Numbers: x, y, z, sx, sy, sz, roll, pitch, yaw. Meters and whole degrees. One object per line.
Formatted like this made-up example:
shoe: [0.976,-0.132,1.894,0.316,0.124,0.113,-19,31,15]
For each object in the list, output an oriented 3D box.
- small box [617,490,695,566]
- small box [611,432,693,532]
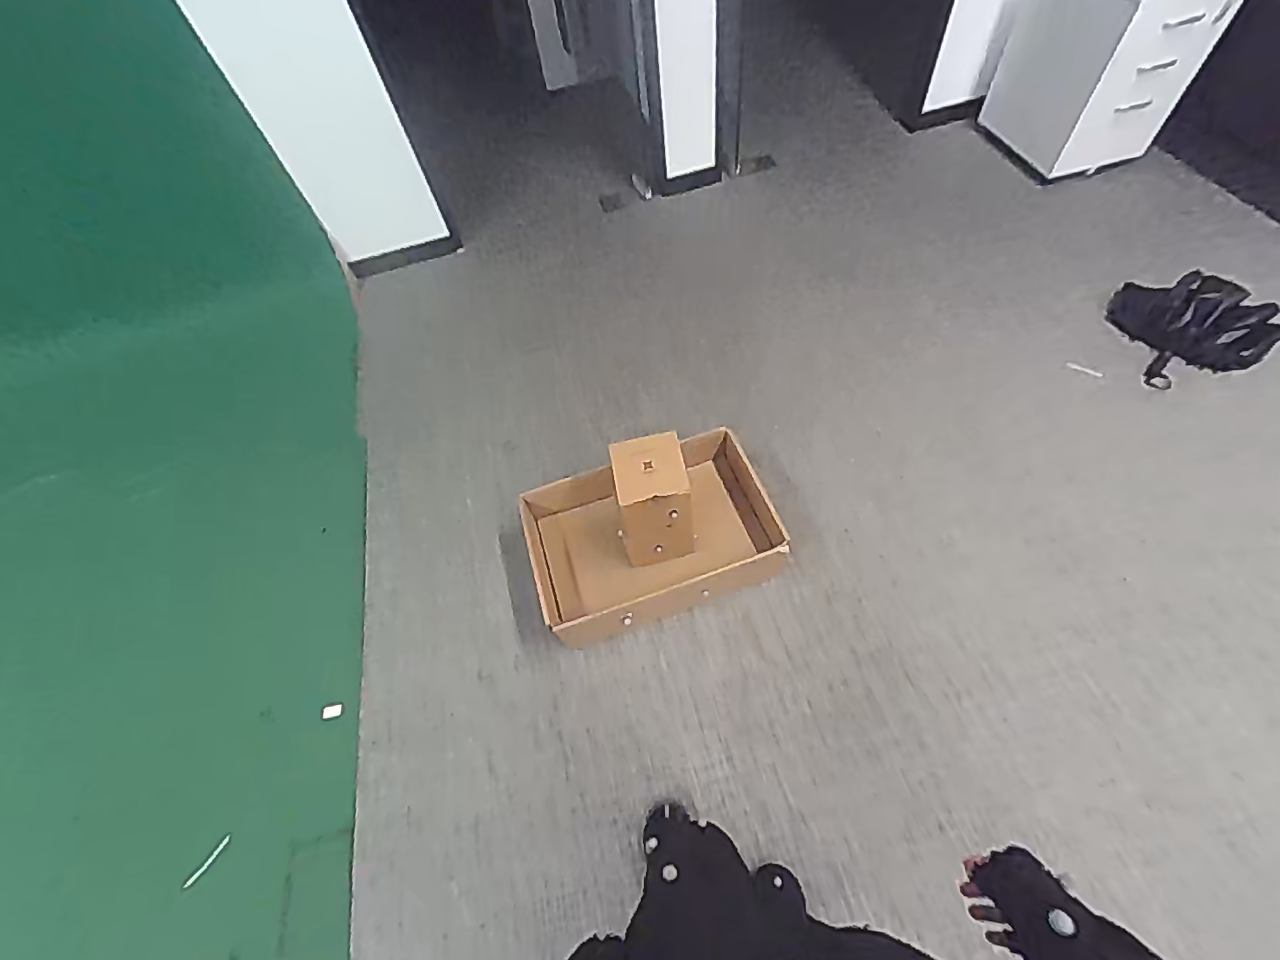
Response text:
small box: [0.047,0.113,1.457,0.179,0.176,0.168,-14,57,2]
small box: [0.033,0.013,1.310,0.168,0.176,0.179,-11,56,0]
